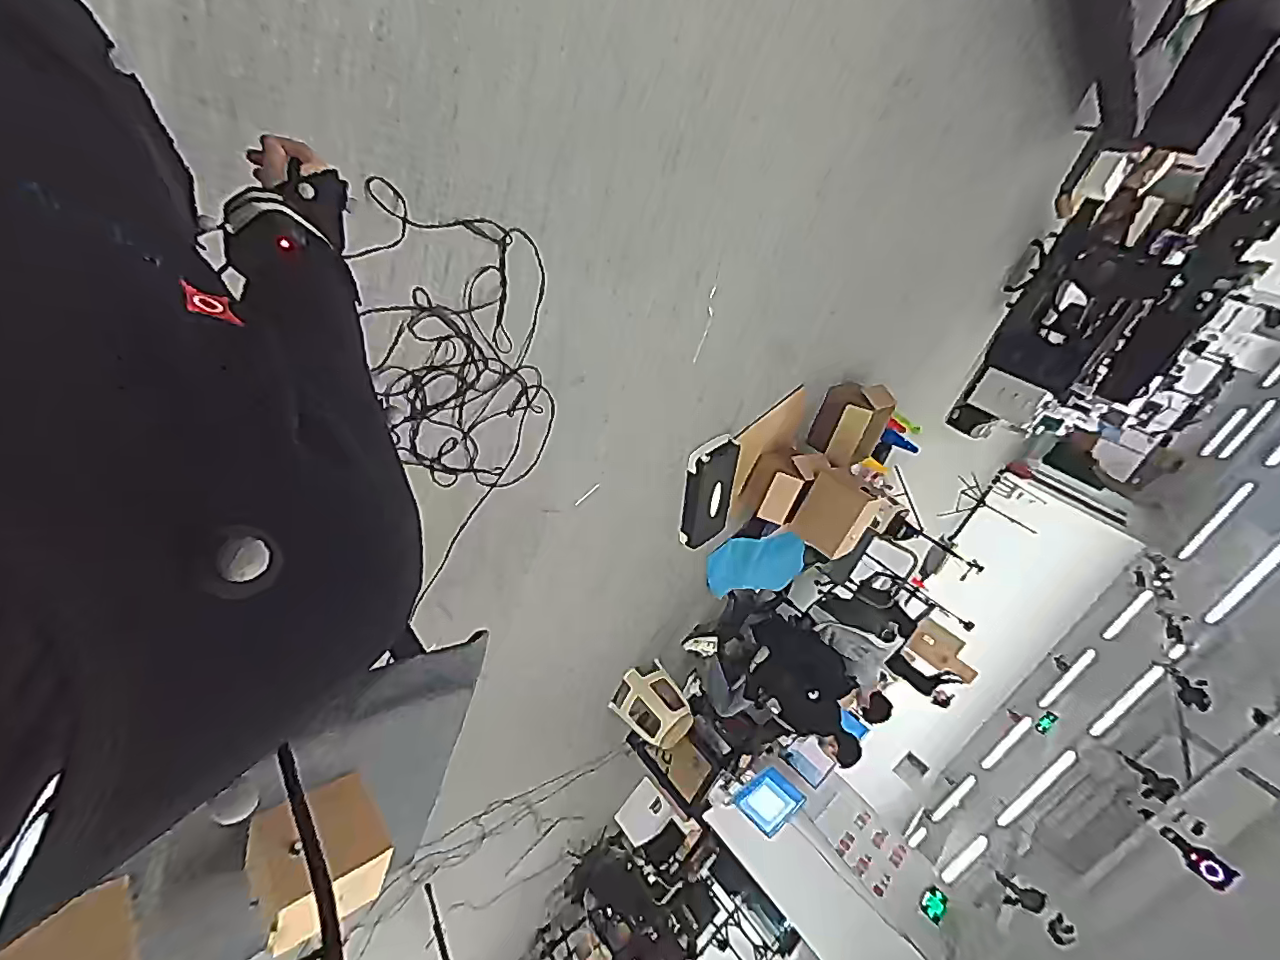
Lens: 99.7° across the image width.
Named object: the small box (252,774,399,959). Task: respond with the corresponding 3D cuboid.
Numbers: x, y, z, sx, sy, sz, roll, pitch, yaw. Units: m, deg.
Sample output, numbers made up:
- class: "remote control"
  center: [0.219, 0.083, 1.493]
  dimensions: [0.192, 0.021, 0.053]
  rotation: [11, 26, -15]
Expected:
- class: "small box"
  center: [-0.560, 0.670, 0.955]
  dimensions: [0.179, 0.176, 0.168]
  rotation: [-7, 128, -48]
